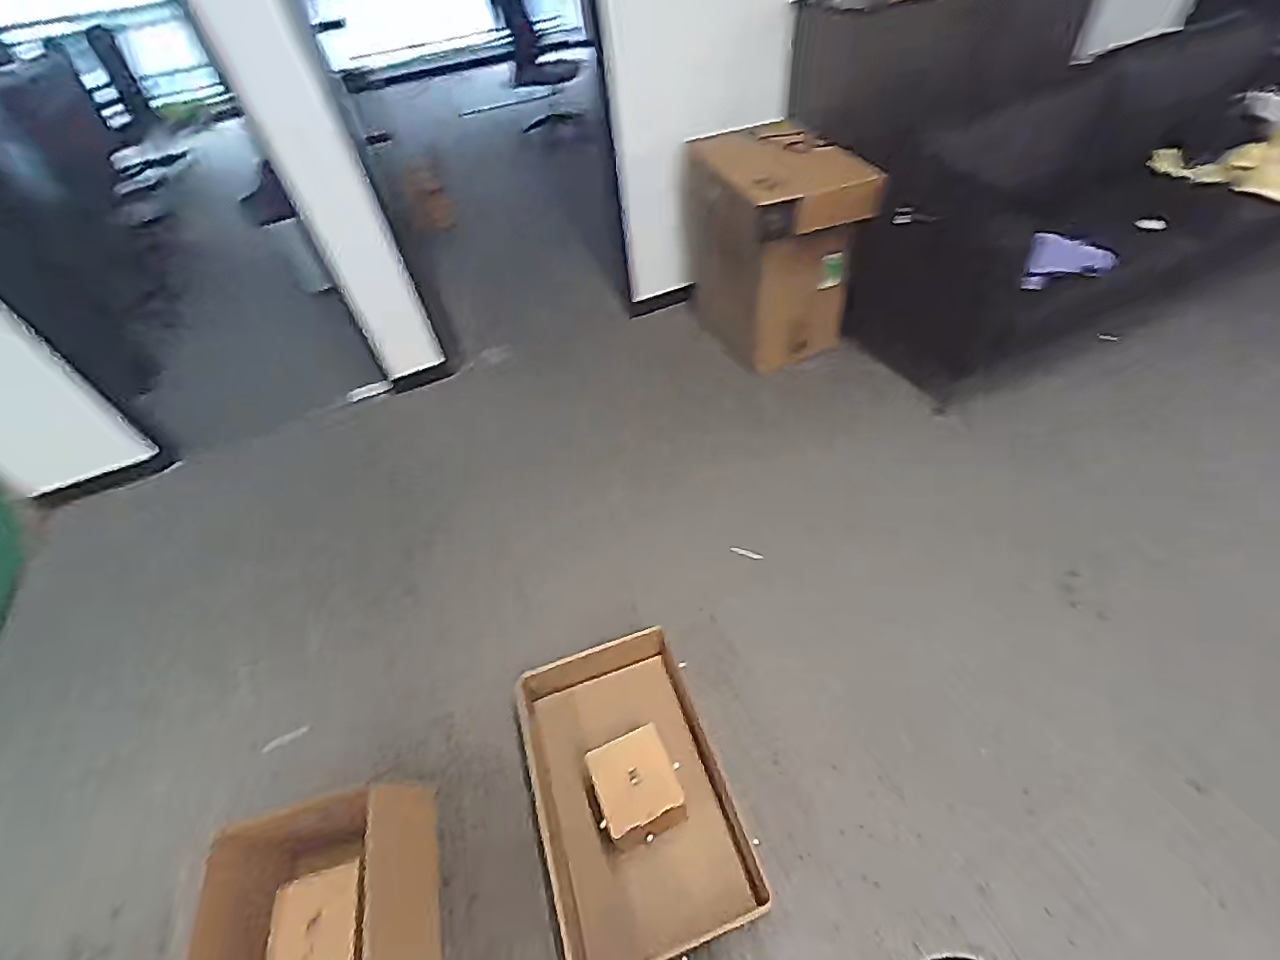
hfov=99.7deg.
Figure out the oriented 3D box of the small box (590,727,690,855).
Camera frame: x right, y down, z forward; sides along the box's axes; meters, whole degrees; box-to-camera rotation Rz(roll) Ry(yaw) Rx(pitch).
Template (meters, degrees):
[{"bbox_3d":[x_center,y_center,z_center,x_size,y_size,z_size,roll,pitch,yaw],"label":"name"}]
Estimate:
[{"bbox_3d":[0.001,0.691,1.199,0.168,0.176,0.179,-20,48,-12],"label":"small box"}]
